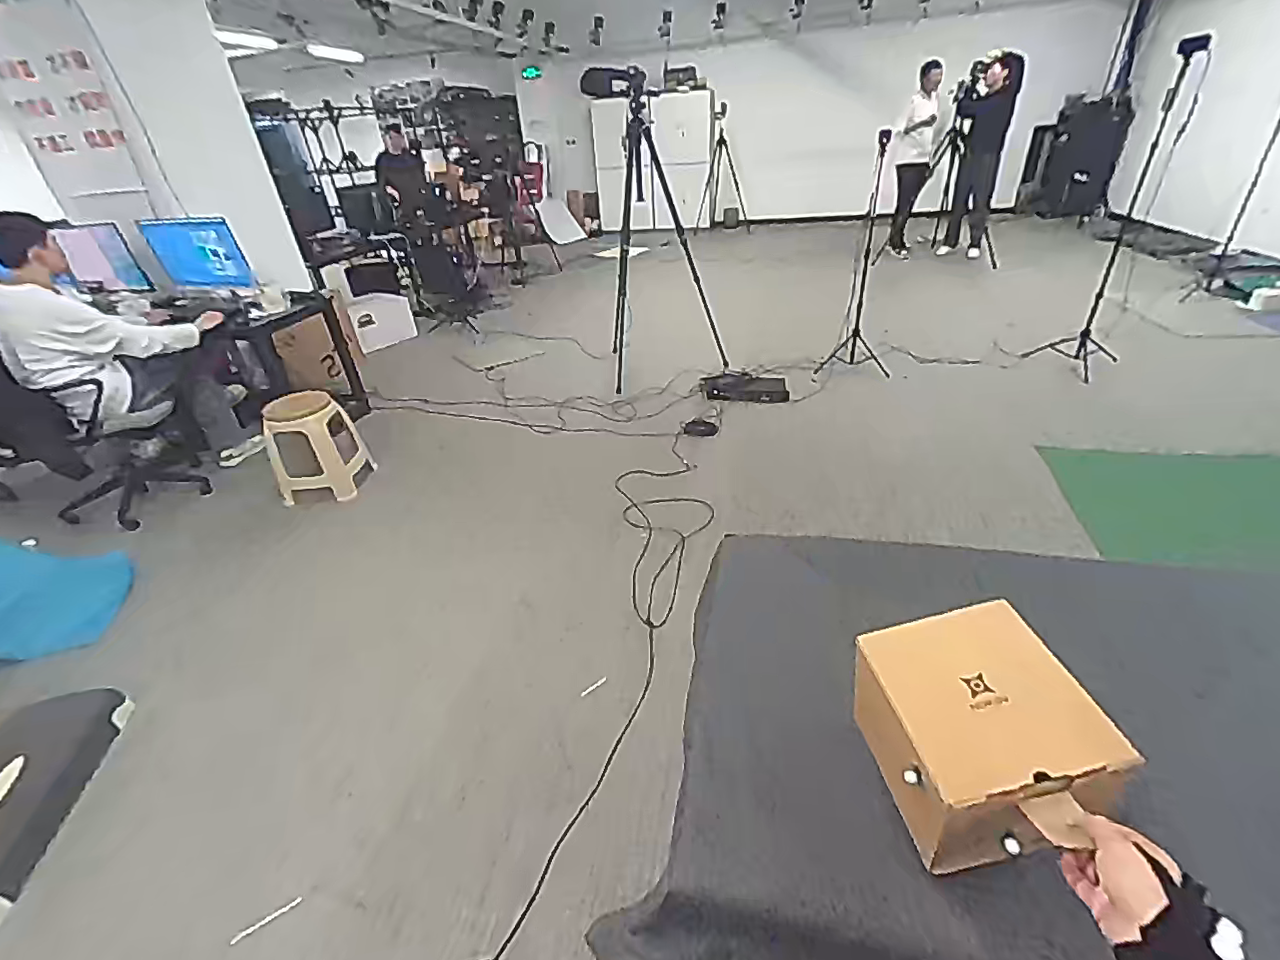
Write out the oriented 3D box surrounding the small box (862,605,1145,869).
[{"bbox_3d":[0.349,0.266,0.567,0.168,0.176,0.179,-14,37,1],"label":"small box"}]
